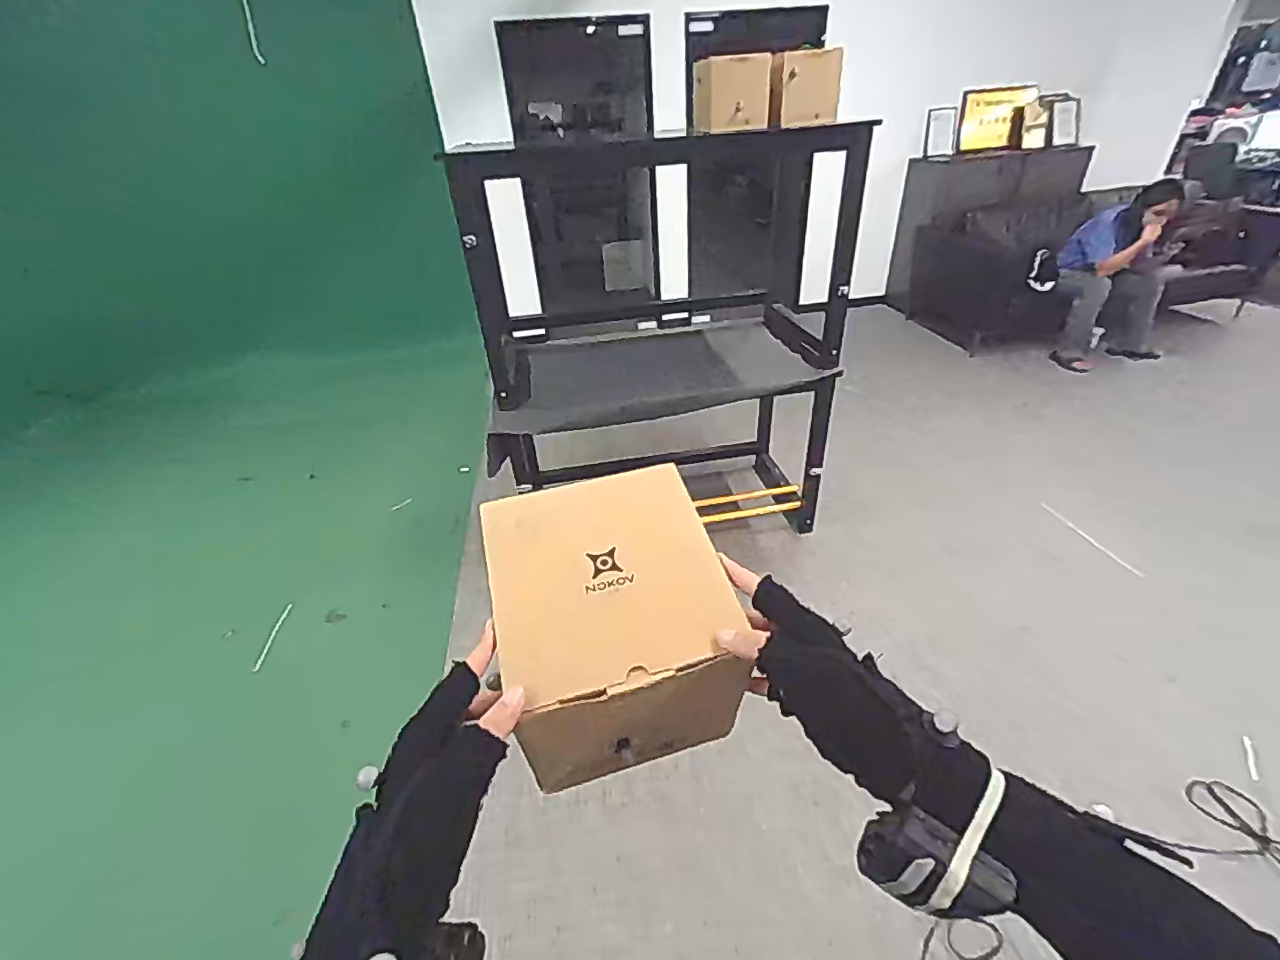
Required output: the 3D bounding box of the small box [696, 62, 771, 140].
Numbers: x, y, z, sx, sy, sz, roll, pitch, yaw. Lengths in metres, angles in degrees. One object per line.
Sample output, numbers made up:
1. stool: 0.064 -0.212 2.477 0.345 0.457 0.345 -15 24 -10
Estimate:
1. small box: 0.256 -1.064 1.526 0.168 0.176 0.179 -9 34 -7
